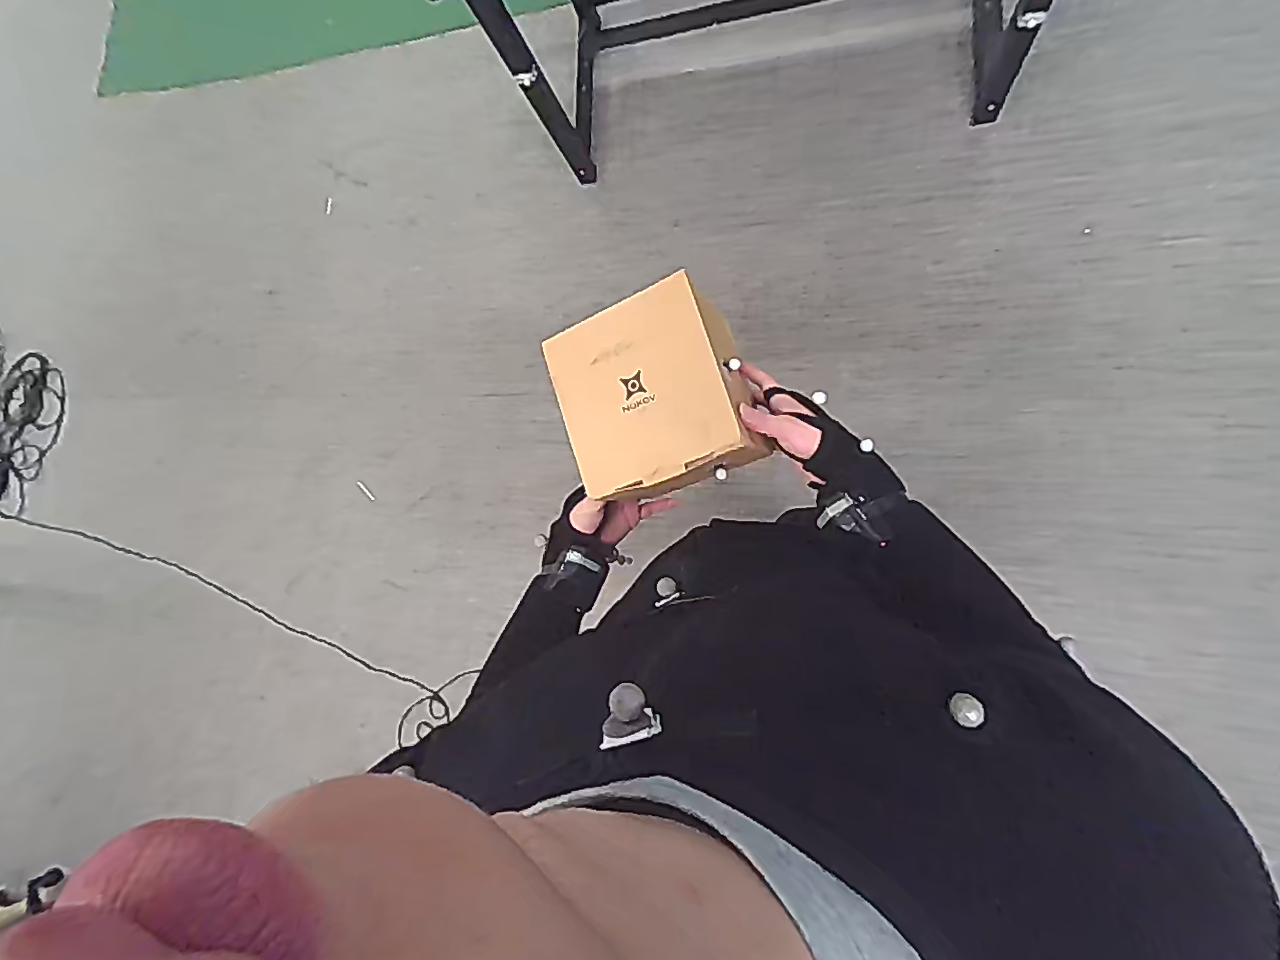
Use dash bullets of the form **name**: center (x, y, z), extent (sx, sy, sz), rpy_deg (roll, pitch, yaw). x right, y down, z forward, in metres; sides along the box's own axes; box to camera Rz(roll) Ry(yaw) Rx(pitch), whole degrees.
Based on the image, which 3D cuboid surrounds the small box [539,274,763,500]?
- **small box**: center (0.022, -0.085, 0.591), extent (0.168, 0.176, 0.179), rpy_deg (-20, 81, 21)
